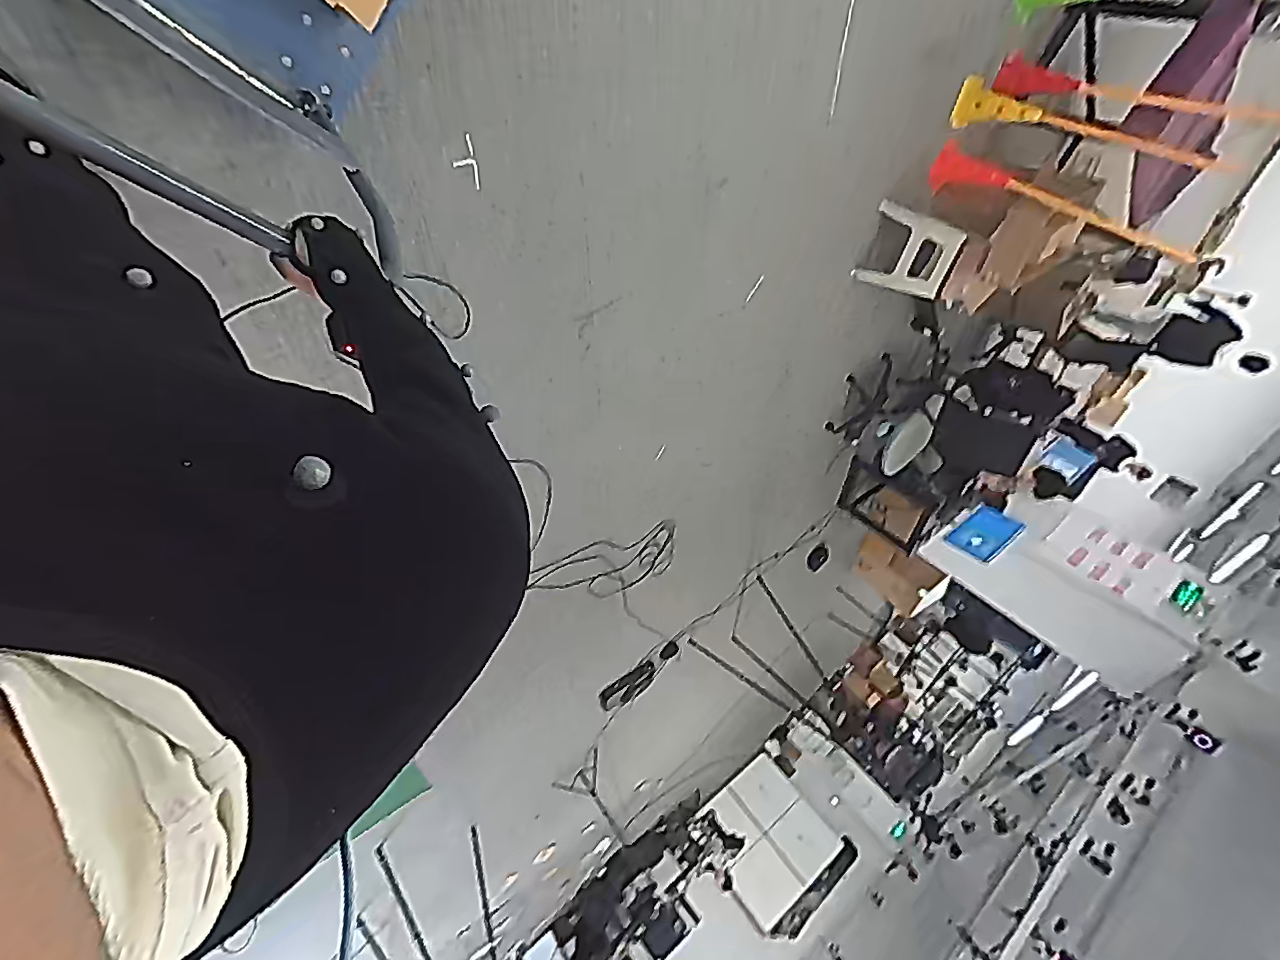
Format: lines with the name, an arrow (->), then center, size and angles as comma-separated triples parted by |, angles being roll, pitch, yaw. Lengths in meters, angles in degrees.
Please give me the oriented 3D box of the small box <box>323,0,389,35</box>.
small box -> -0.497, -0.889, 0.878 | 0.179, 0.176, 0.168 | -50, 146, 15
